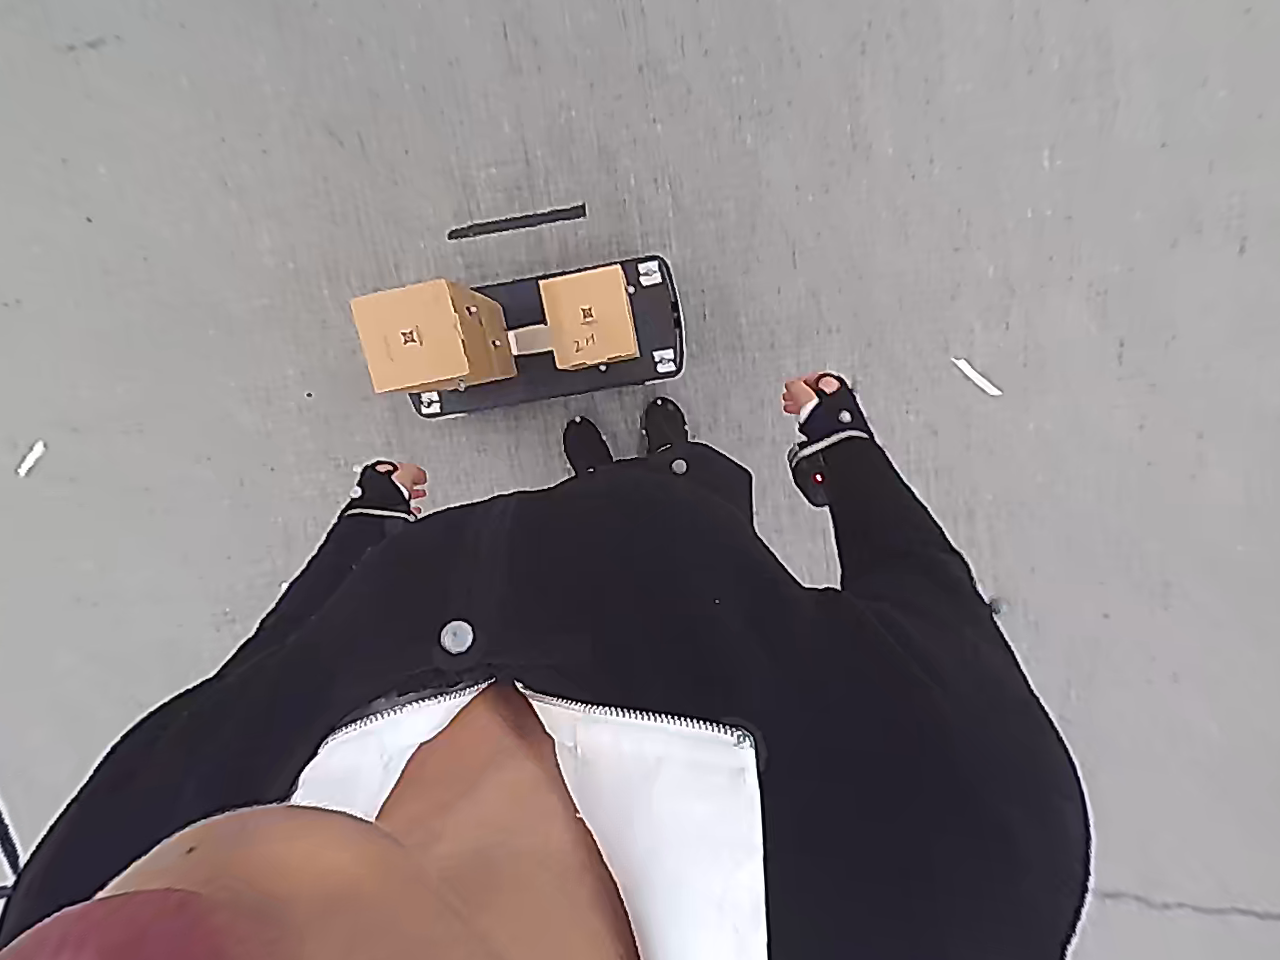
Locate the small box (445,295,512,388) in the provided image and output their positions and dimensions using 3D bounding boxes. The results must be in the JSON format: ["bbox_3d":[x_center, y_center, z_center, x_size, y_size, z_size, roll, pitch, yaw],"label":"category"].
[{"bbox_3d":[-0.387,-0.291,1.176,0.179,0.176,0.168,-11,100,4],"label":"small box"}]

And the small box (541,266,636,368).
[{"bbox_3d":[-0.101,-0.339,1.159,0.168,0.176,0.179,-9,100,5],"label":"small box"}]

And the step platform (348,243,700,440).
[{"bbox_3d":[-0.225,-0.275,1.138,0.684,0.204,0.286,-9,100,2],"label":"step platform"}]

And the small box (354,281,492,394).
[{"bbox_3d":[-0.391,-0.261,1.015,0.179,0.176,0.168,-12,99,3],"label":"small box"}]
